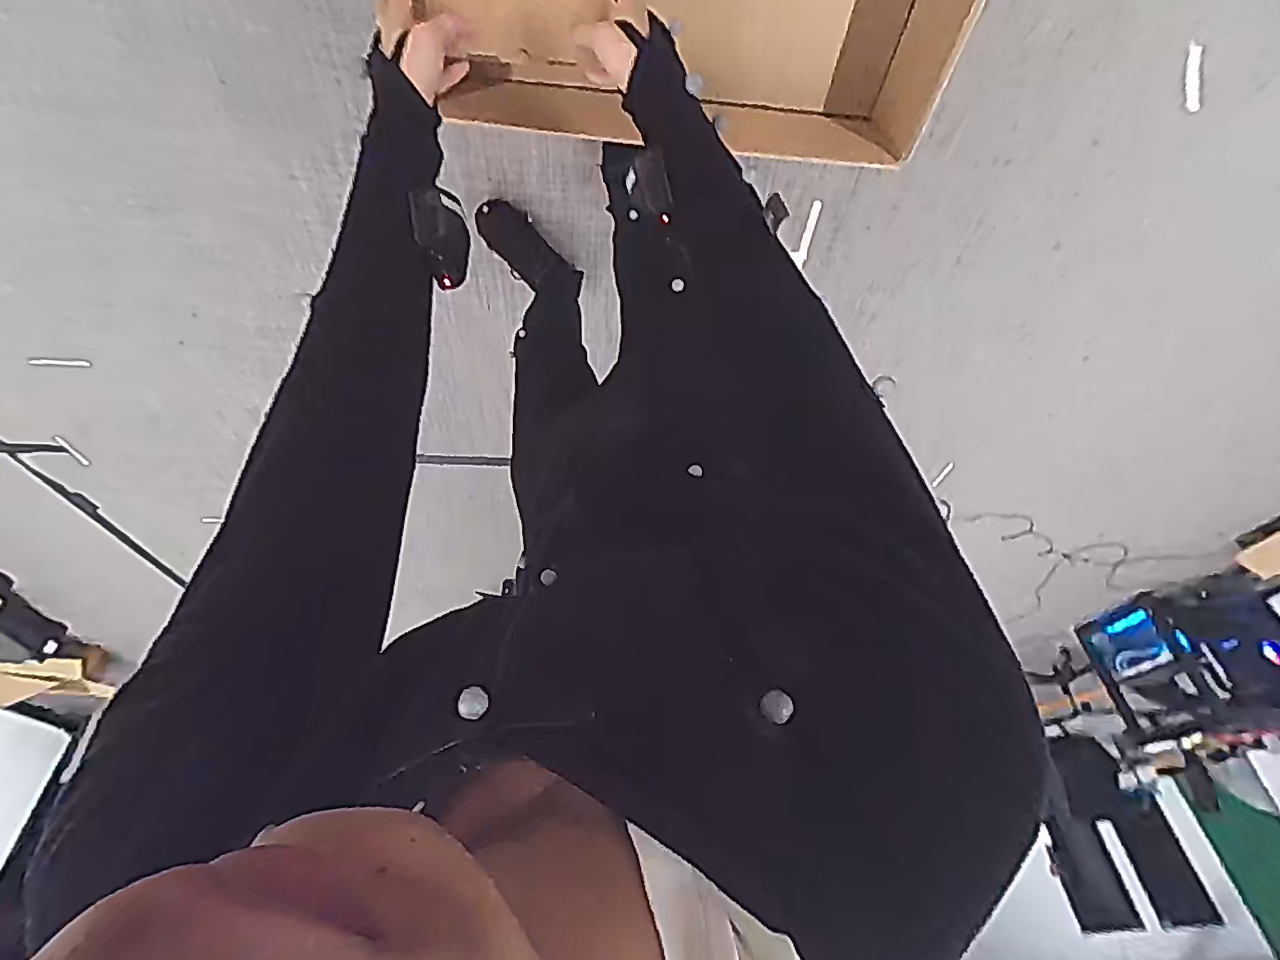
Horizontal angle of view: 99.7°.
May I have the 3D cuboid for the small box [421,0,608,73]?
[{"bbox_3d":[-0.117,-0.507,0.497,0.168,0.176,0.179,-3,140,-9],"label":"small box"}]
